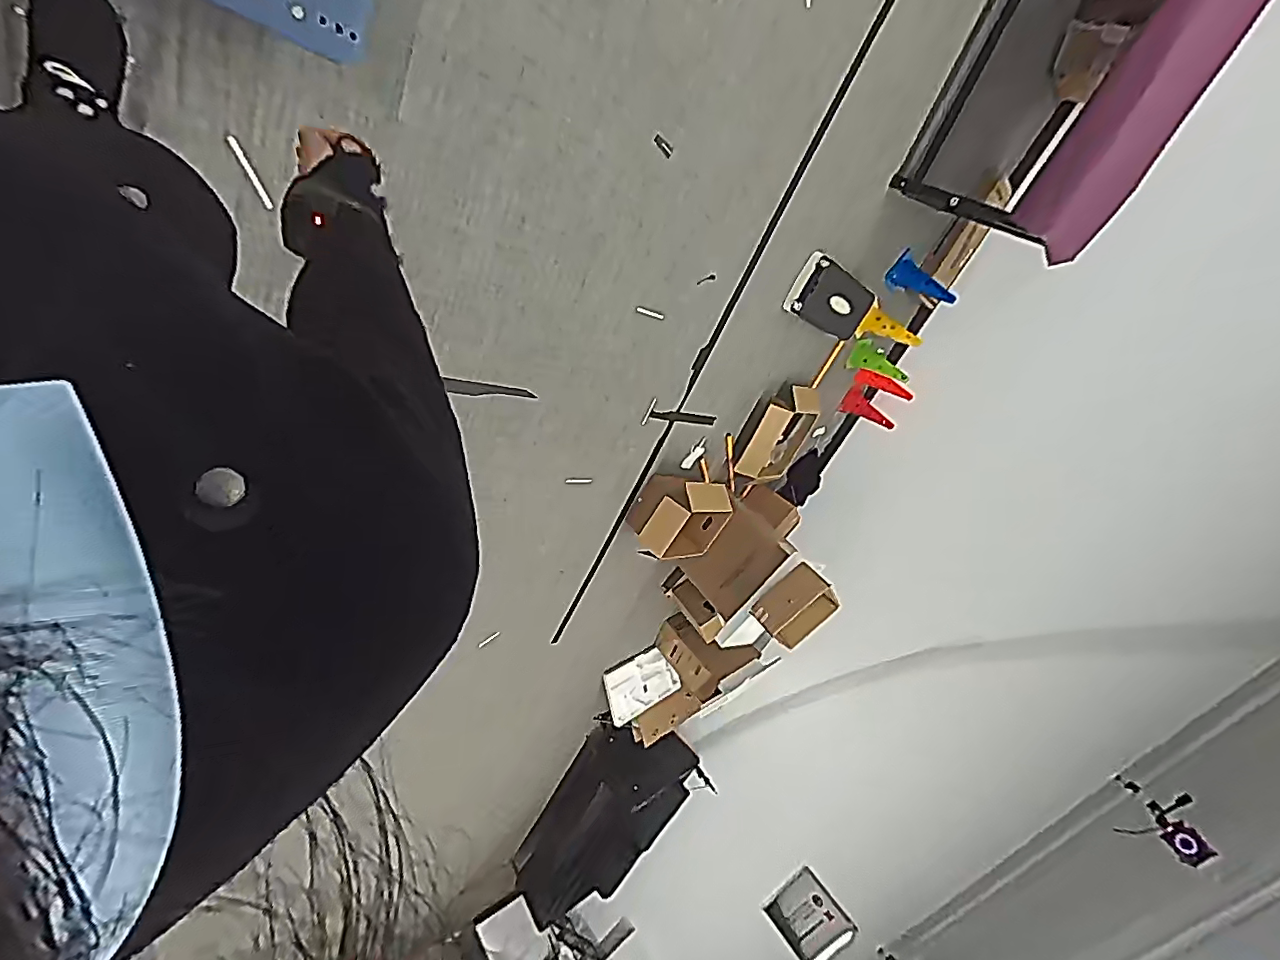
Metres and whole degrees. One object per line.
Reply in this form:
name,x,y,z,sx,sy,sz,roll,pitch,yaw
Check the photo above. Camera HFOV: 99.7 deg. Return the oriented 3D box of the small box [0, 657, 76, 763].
small box,-1.601,0.601,1.418,0.168,0.176,0.179,-4,128,-47
